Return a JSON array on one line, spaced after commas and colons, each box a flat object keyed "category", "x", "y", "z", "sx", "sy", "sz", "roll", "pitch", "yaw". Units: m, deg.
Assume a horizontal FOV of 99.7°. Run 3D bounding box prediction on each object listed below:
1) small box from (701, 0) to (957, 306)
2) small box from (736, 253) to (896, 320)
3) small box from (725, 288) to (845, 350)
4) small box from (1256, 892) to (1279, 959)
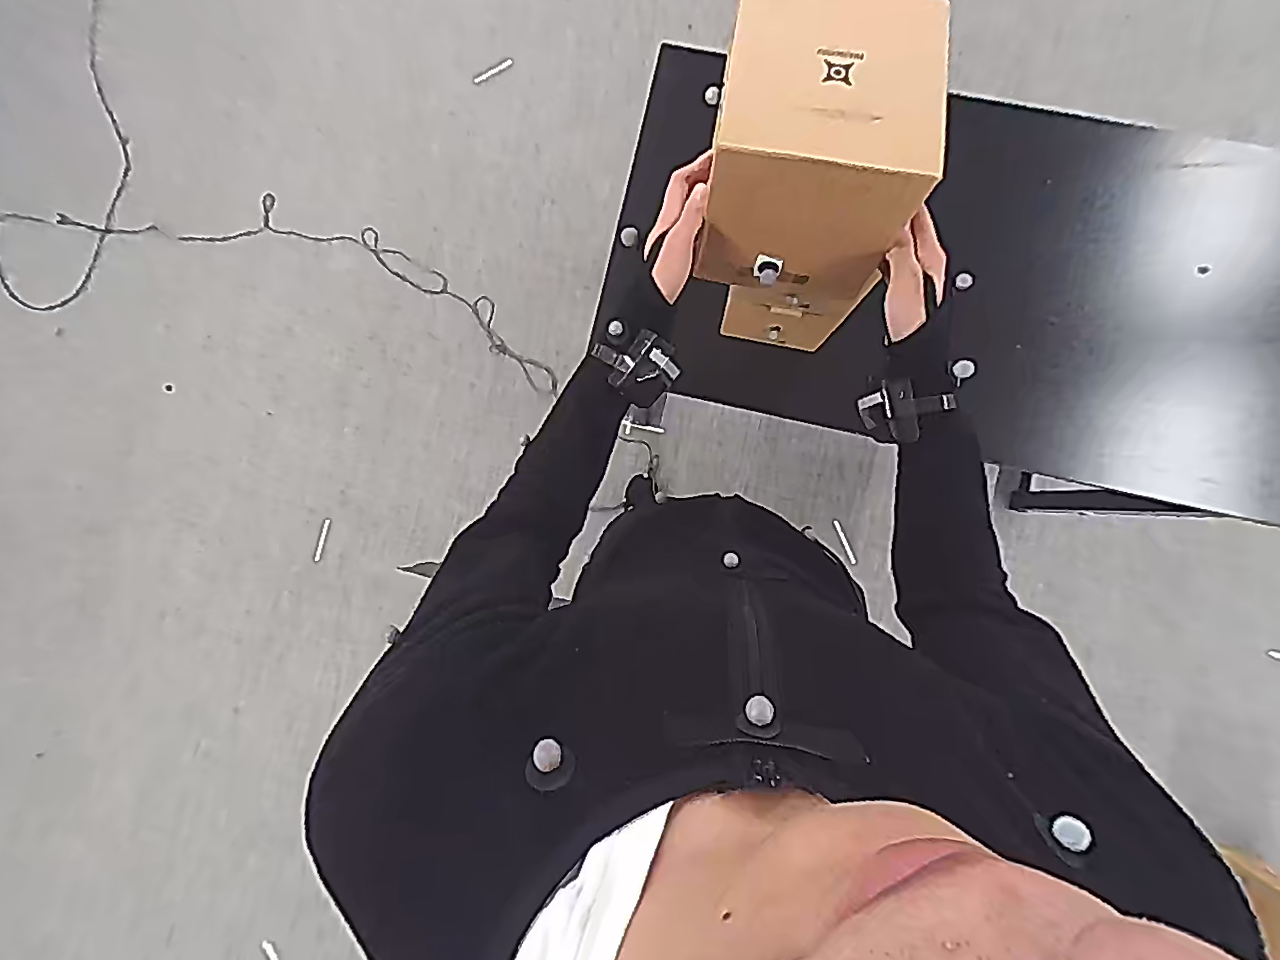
[{"category": "small box", "x": 0.151, "y": -0.285, "z": 0.479, "sx": 0.168, "sy": 0.176, "sz": 0.179, "roll": 9, "pitch": 76, "yaw": 2}, {"category": "small box", "x": 0.219, "y": -0.325, "z": 0.675, "sx": 0.168, "sy": 0.176, "sz": 0.179, "roll": 12, "pitch": 88, "yaw": 5}, {"category": "small box", "x": 0.230, "y": -0.315, "z": 0.839, "sx": 0.168, "sy": 0.176, "sz": 0.179, "roll": 12, "pitch": 89, "yaw": 4}, {"category": "small box", "x": 1.599, "y": 1.104, "z": 1.243, "sx": 0.168, "sy": 0.176, "sz": 0.179, "roll": 14, "pitch": 90, "yaw": 4}]
